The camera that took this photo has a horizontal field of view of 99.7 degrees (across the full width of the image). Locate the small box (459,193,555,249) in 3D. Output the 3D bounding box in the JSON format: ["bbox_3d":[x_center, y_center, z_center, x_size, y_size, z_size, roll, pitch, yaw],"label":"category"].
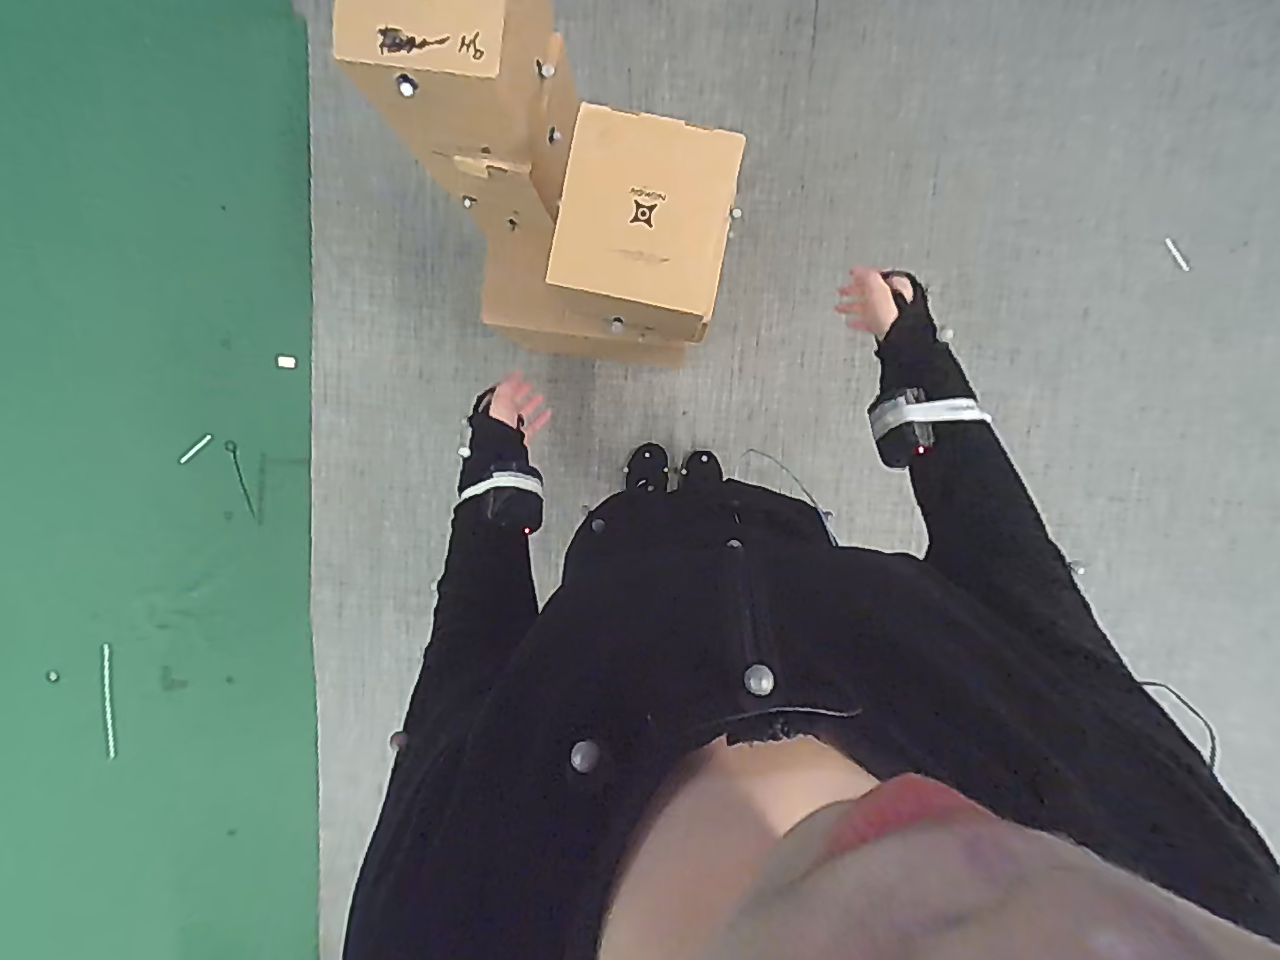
[{"bbox_3d":[-0.181,-0.507,0.923,0.179,0.176,0.168,13,96,0],"label":"small box"}]

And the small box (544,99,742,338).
[{"bbox_3d":[0.003,-0.274,0.608,0.168,0.176,0.179,13,96,1],"label":"small box"}]

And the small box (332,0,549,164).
[{"bbox_3d":[-0.202,-0.488,0.595,0.168,0.176,0.179,8,95,2],"label":"small box"}]

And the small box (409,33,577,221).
[{"bbox_3d":[-0.192,-0.495,0.760,0.168,0.176,0.179,15,95,1],"label":"small box"}]

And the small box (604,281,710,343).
[{"bbox_3d":[0.035,-0.338,0.929,0.168,0.176,0.179,5,96,2],"label":"small box"}]
